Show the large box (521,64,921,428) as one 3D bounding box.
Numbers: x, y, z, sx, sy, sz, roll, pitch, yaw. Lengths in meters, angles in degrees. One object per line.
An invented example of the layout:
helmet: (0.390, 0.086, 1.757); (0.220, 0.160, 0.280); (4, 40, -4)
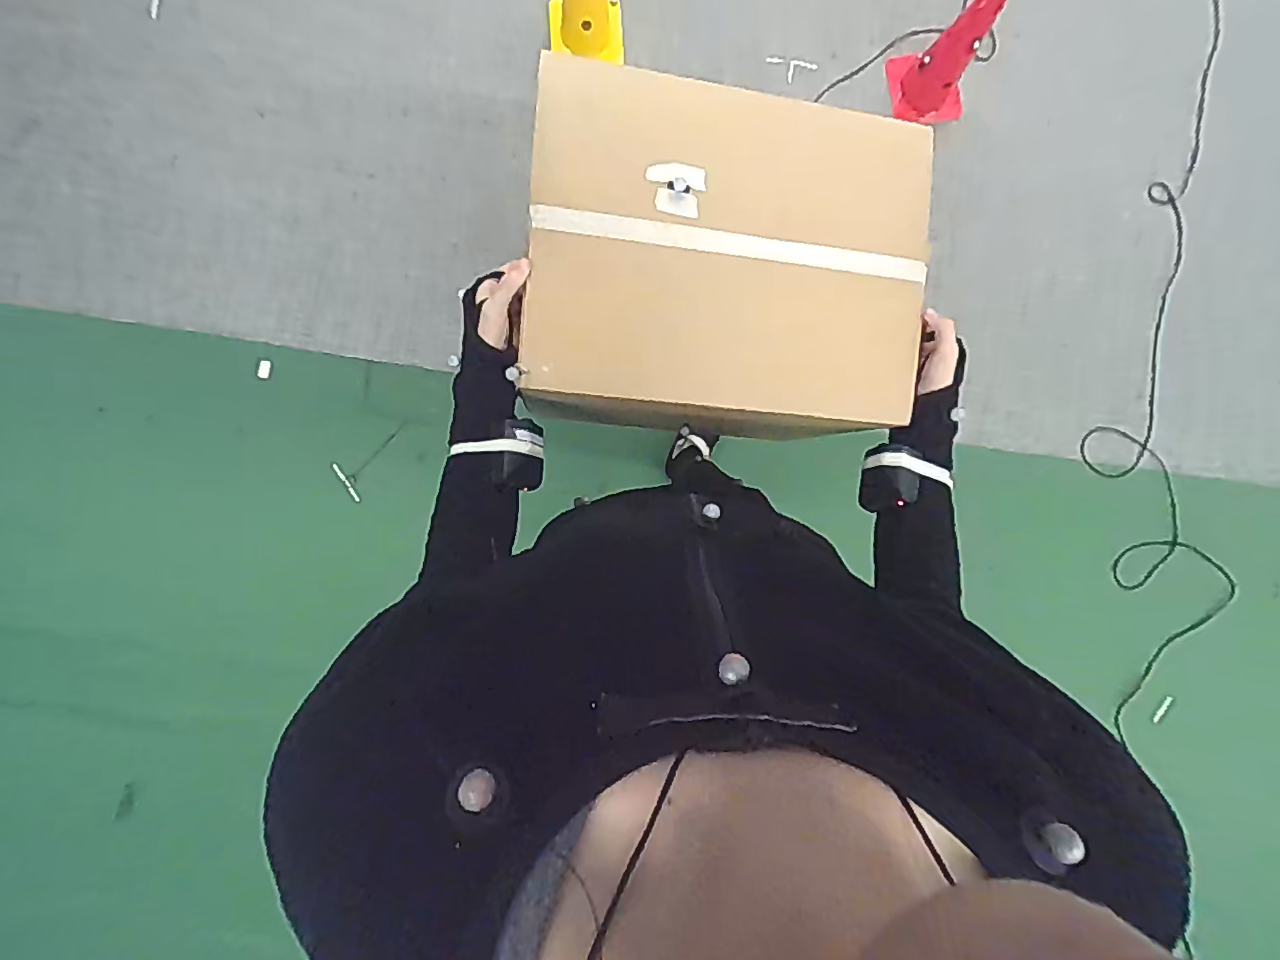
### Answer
large box: (0.071, -0.238, 0.690); (0.408, 0.320, 0.320); (4, 91, -8)
